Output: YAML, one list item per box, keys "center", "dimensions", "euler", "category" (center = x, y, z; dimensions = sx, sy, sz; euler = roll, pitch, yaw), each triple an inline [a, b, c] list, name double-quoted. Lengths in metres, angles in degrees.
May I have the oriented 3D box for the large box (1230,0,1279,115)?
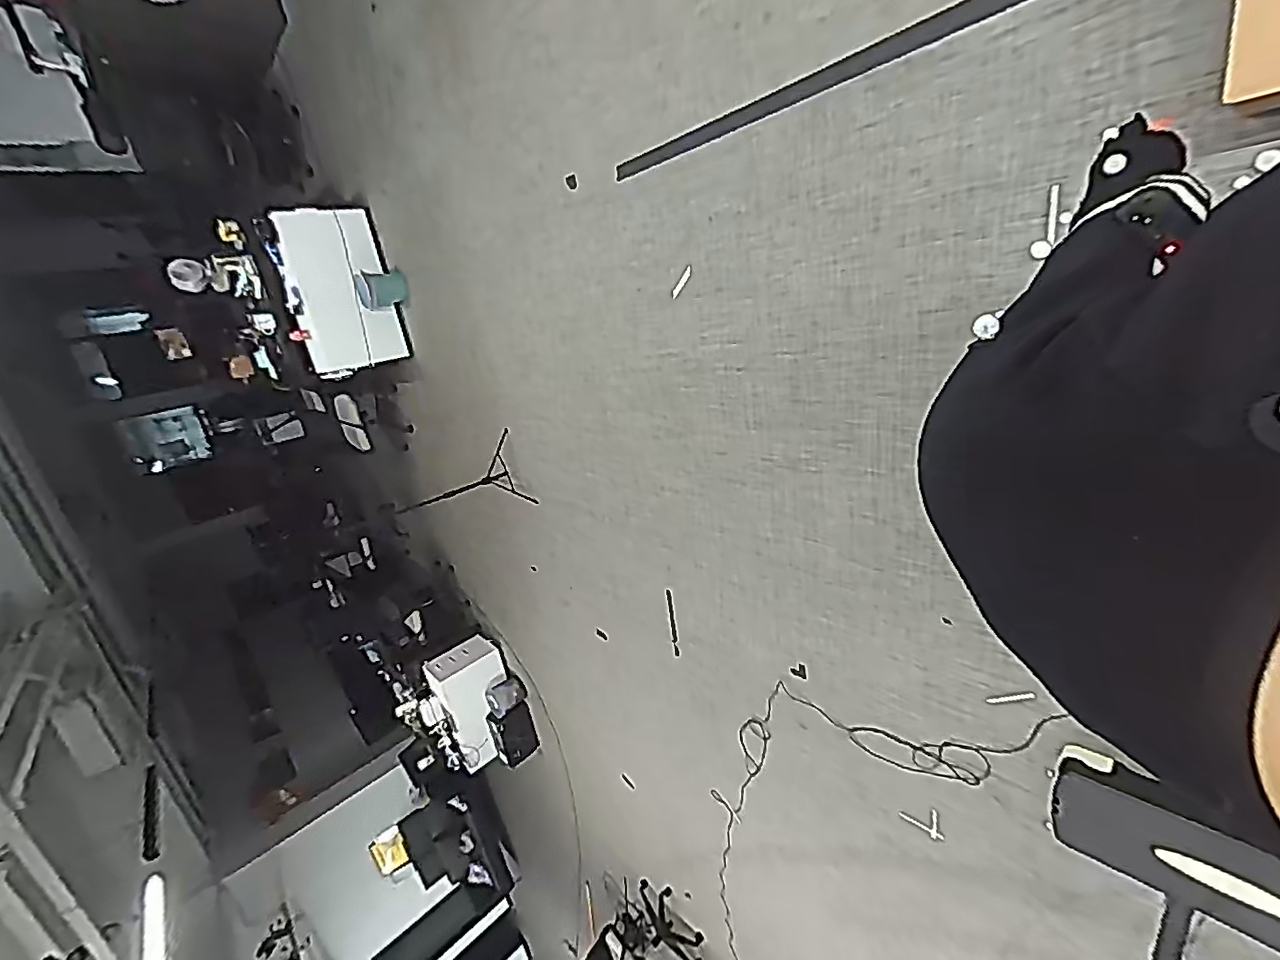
- center: [1.017, -0.695, 0.645]
  dimensions: [0.408, 0.320, 0.320]
  euler: [9, 117, 47]
  category: "large box"
